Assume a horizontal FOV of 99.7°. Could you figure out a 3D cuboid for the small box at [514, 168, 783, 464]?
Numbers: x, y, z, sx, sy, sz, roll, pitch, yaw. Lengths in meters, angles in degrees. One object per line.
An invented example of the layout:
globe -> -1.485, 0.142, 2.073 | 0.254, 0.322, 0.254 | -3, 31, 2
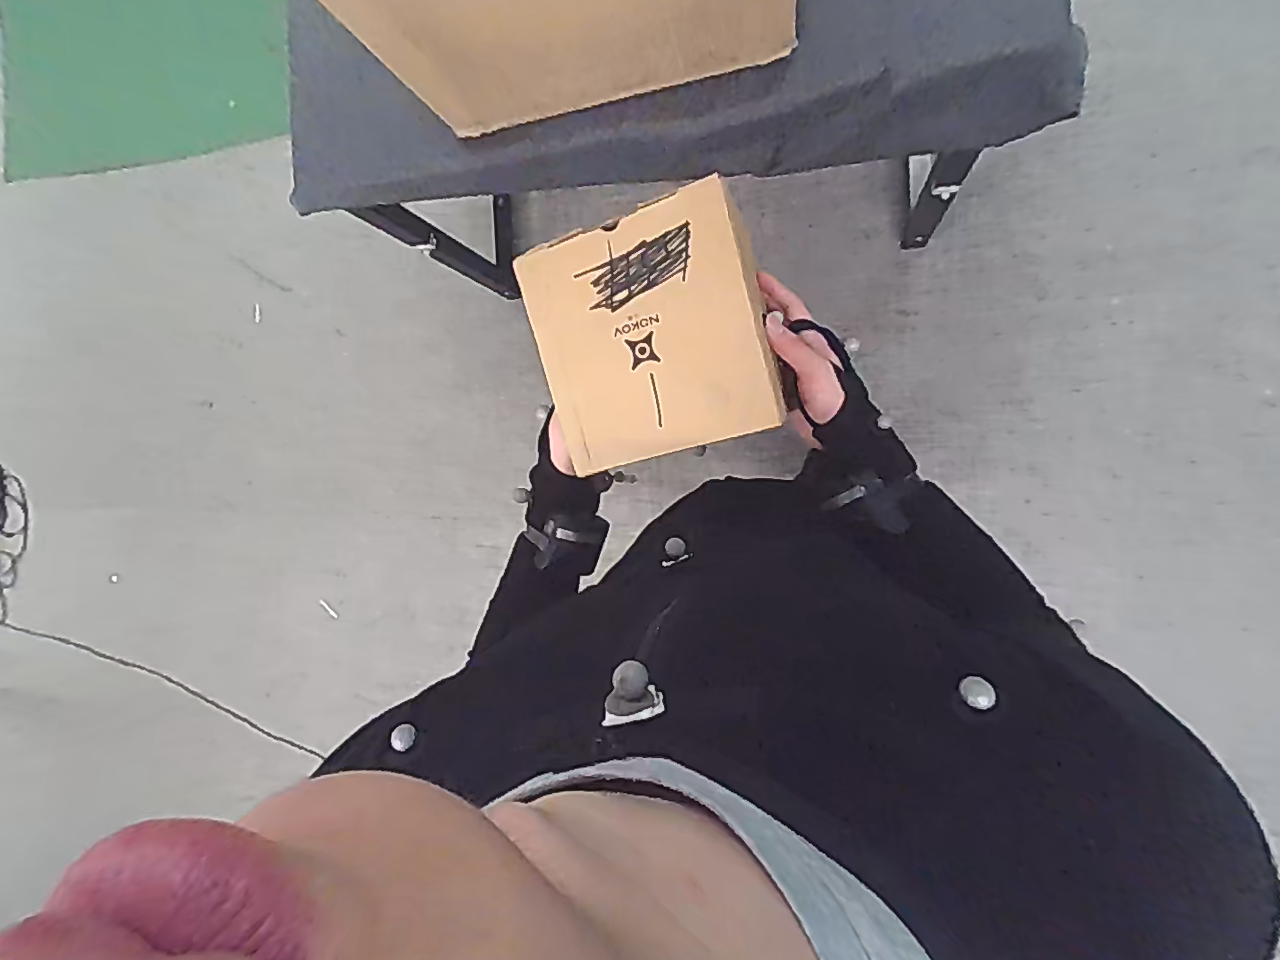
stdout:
small box -> 0.022, -0.125, 0.469 | 0.168, 0.176, 0.179 | -13, 98, 20
